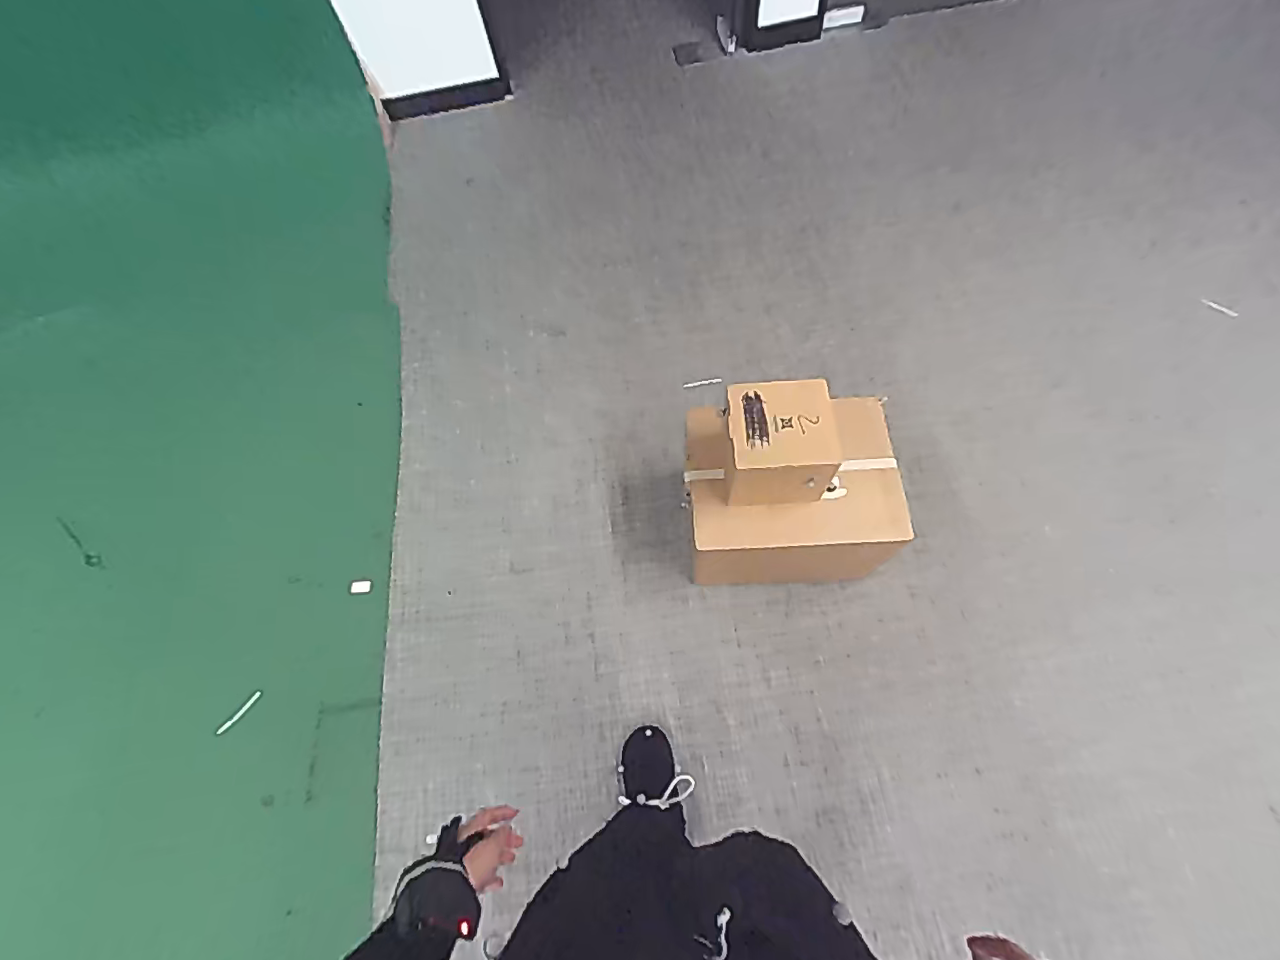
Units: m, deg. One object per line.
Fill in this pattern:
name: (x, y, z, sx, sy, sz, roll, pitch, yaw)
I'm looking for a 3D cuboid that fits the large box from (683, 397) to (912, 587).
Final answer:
large box: (0.309, 0.041, 1.201, 0.408, 0.320, 0.320, -4, 67, 3)
